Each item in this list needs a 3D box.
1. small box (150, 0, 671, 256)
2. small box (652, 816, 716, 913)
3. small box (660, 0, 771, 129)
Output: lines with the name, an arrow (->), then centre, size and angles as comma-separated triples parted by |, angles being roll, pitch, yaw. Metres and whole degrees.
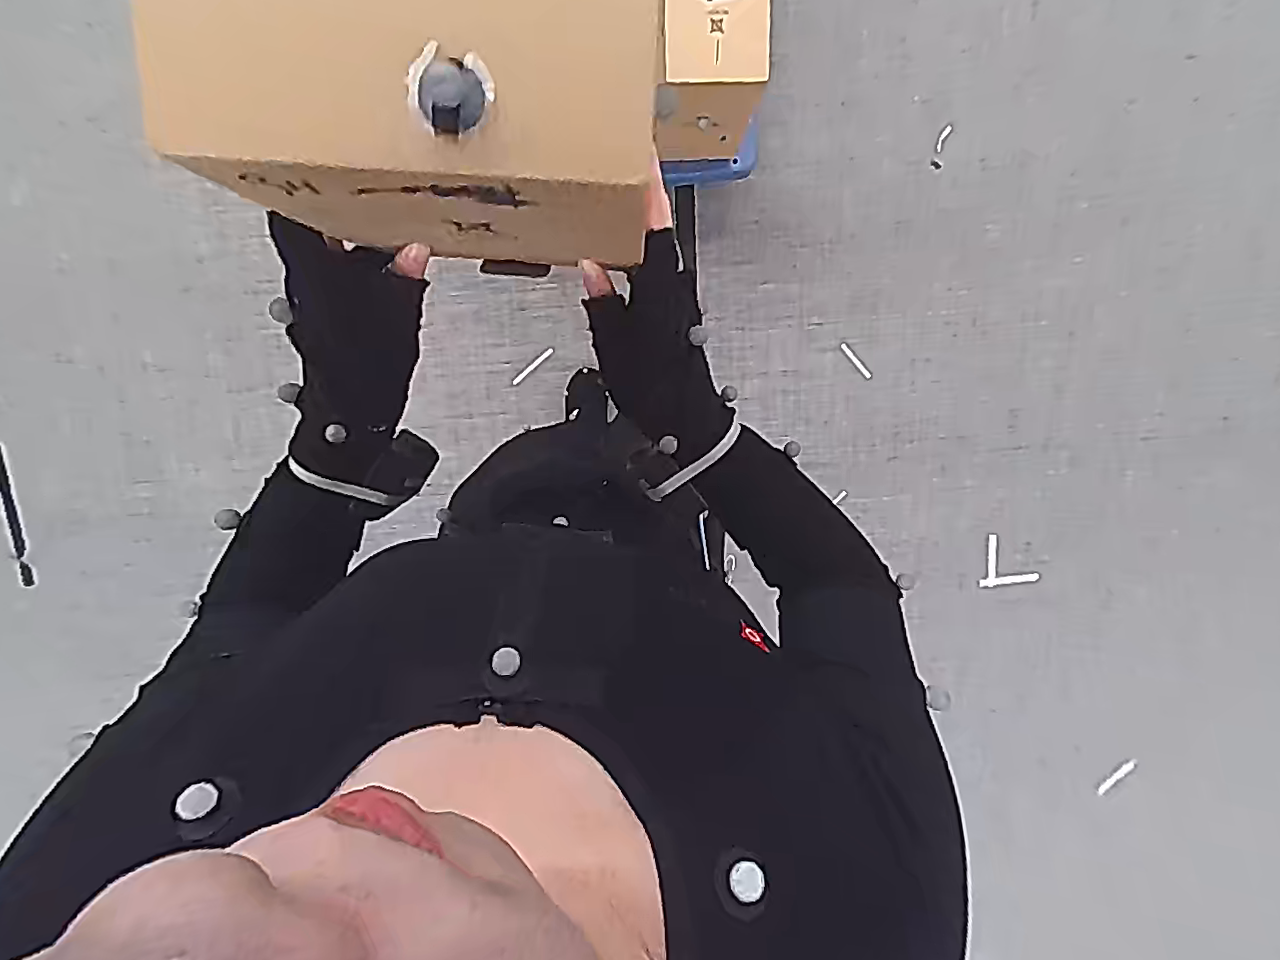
small box -> -0.071, -0.209, 0.243 | 0.168, 0.179, 0.176 | 3, 103, -1
small box -> 0.130, 1.156, 1.641 | 0.168, 0.176, 0.179 | -9, 102, 0
small box -> 0.118, -0.727, 0.912 | 0.168, 0.176, 0.179 | -2, 101, -2
